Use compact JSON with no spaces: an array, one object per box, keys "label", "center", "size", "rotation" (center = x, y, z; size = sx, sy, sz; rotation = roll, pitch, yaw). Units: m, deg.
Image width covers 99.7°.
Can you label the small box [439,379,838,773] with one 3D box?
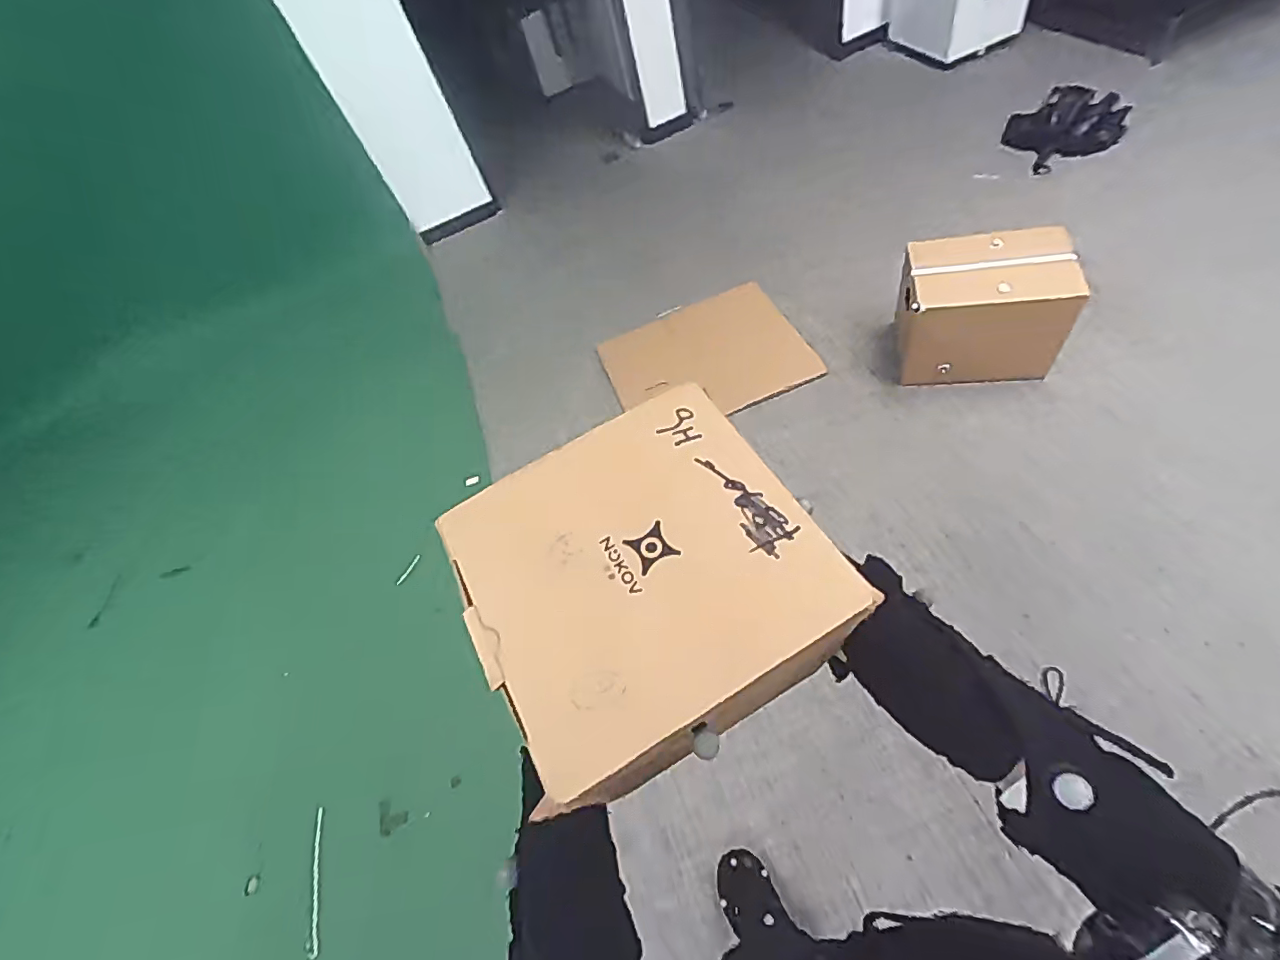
[{"label":"small box","center":[0.002,0.073,0.367],"size":[0.179,0.176,0.168],"rotation":[-31,59,-10]}]
